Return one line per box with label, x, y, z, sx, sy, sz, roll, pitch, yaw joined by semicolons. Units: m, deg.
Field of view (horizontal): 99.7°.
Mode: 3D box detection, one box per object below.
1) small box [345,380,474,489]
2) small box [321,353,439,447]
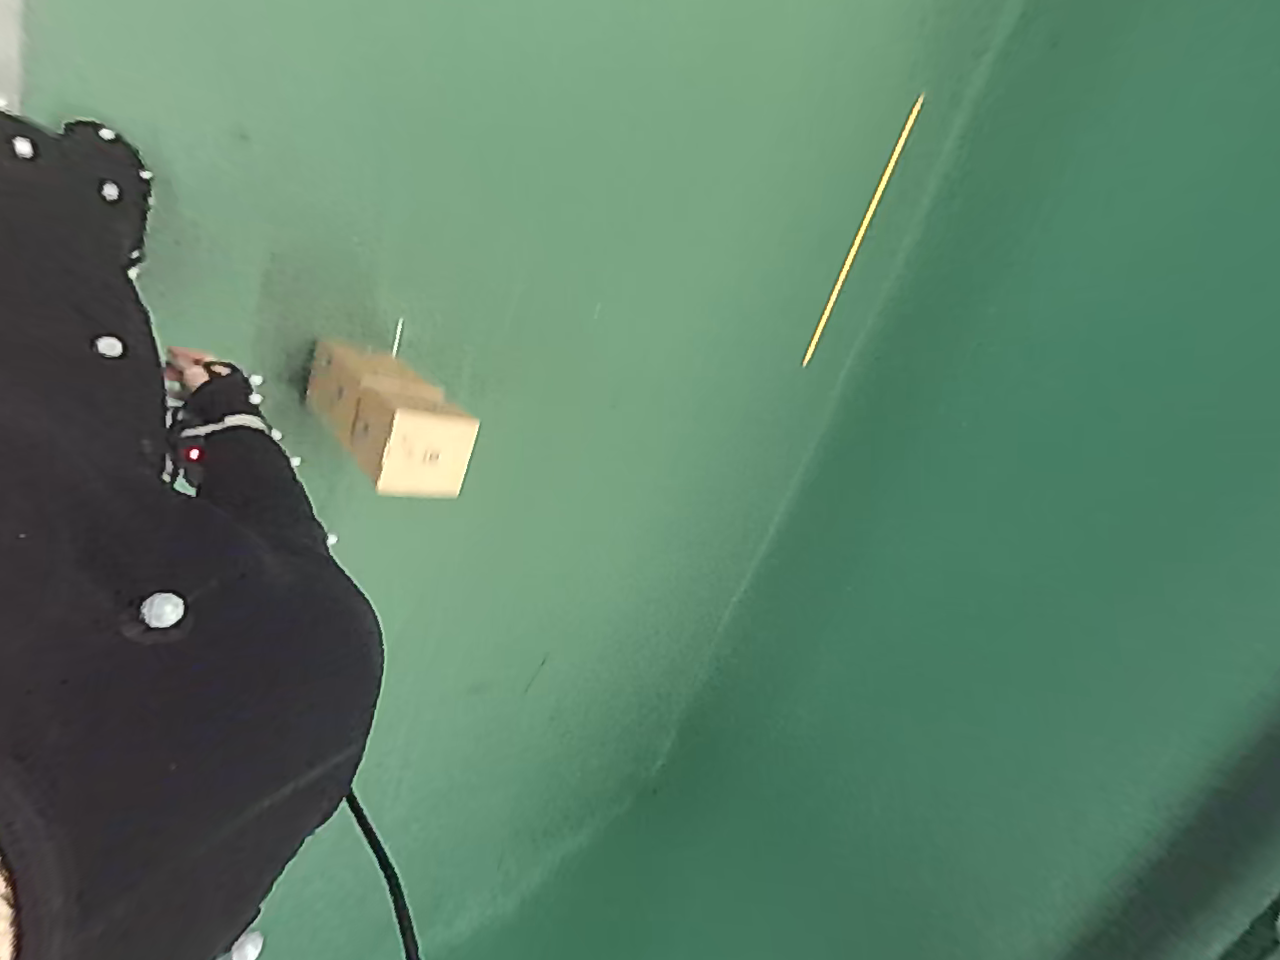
small box;-0.481;-0.095;1.125;0.179;0.176;0.168;5;112;-48
small box;-0.589;-0.174;1.221;0.179;0.176;0.168;4;114;-47
